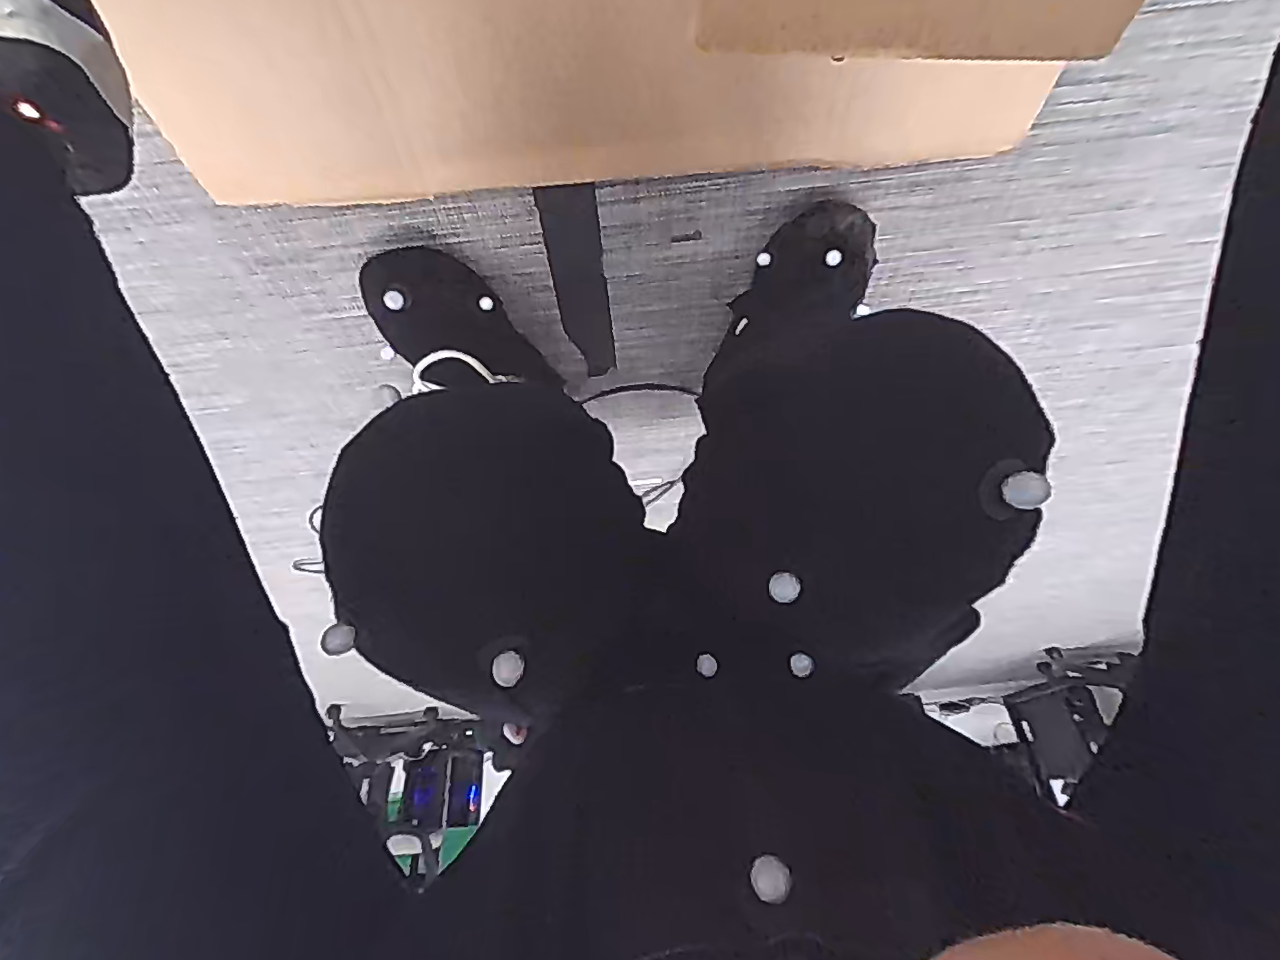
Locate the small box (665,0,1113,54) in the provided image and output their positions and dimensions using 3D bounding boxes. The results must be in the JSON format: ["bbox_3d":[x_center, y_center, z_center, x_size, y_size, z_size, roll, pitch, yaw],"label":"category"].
[{"bbox_3d":[0.095,-0.286,0.190,0.179,0.176,0.168,-2,149,-5],"label":"small box"}]
